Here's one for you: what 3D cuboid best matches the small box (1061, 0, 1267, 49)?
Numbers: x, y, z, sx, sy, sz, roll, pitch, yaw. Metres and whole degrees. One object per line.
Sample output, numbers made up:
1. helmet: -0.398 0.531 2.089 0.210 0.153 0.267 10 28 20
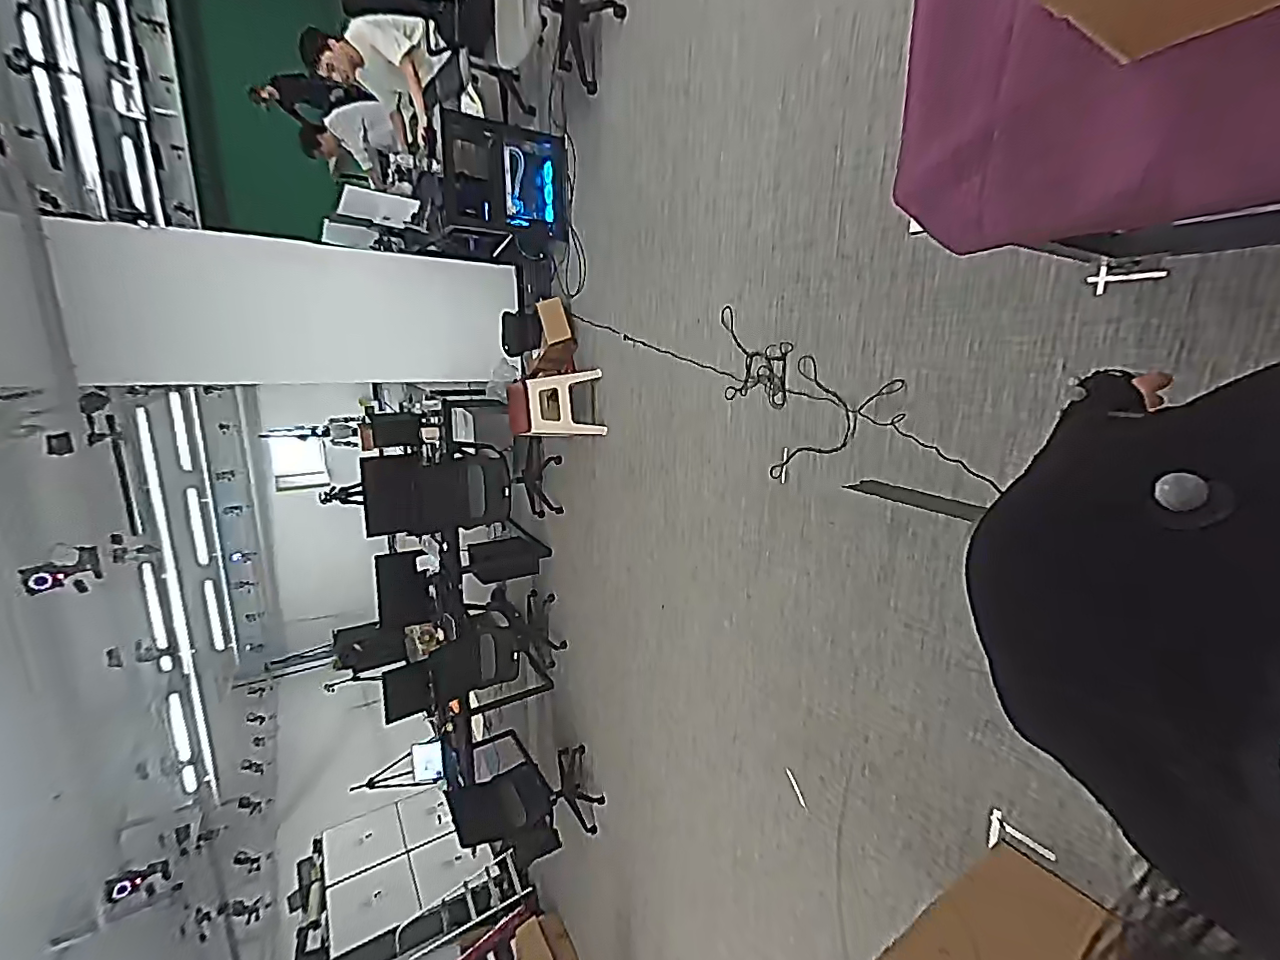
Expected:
1. small box: 0.514 -0.527 0.472 0.179 0.176 0.168 15 109 56
